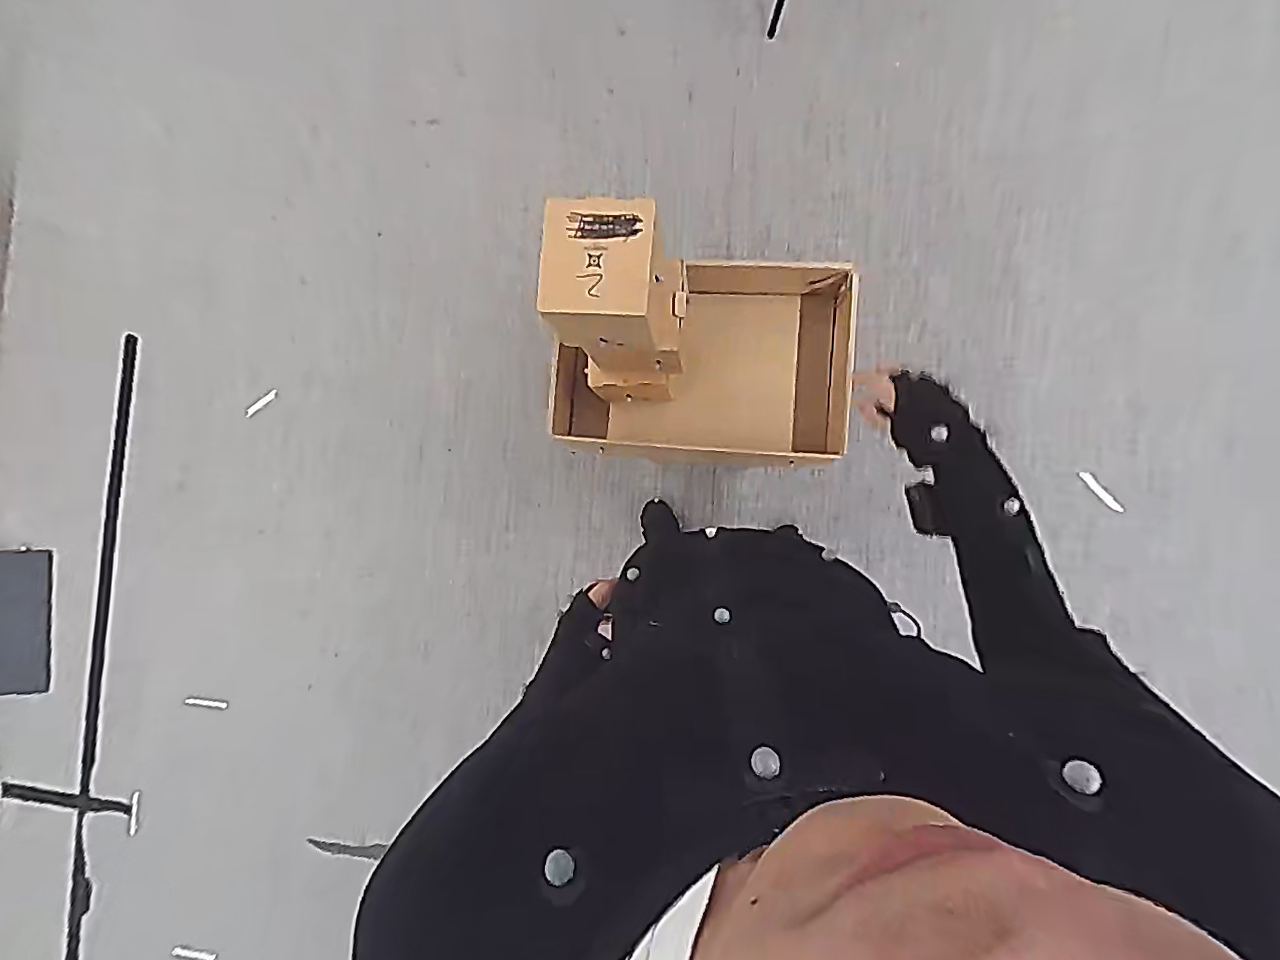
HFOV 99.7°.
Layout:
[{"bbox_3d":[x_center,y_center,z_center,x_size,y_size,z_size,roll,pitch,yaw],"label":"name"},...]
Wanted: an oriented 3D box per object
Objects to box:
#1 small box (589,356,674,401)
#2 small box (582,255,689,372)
[{"bbox_3d":[-0.013,-0.277,1.182,0.168,0.176,0.179,-1,87,8],"label":"small box"},{"bbox_3d":[-0.001,-0.304,1.017,0.179,0.176,0.168,4,87,7],"label":"small box"}]
